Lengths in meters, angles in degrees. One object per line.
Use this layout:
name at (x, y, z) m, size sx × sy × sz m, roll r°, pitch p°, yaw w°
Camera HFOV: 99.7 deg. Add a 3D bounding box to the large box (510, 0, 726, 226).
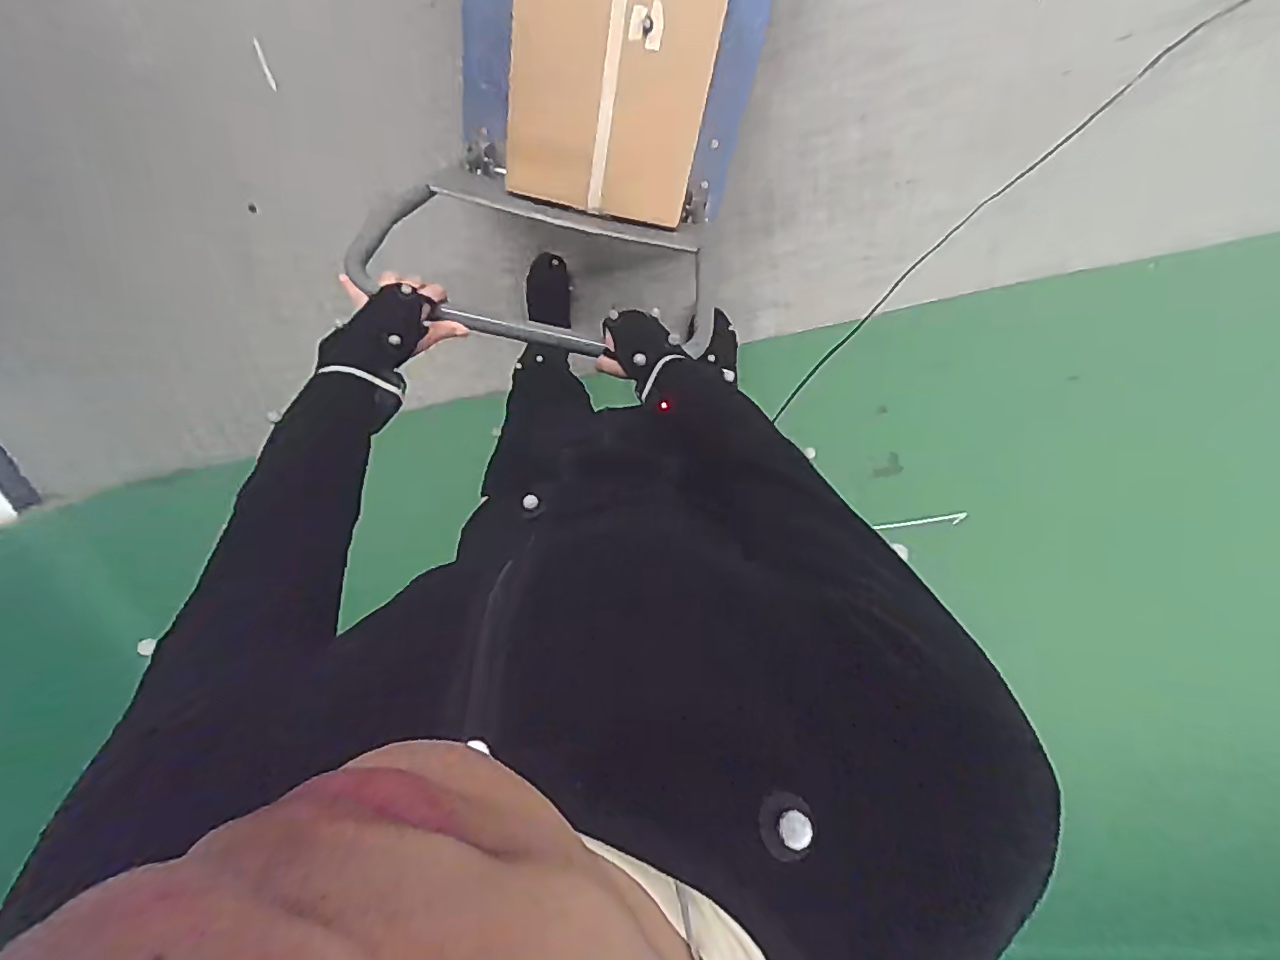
large box at (-0.036, -0.734, 0.987) m, size 0.320 × 0.320 × 0.408 m, roll 11°, pitch 126°, yaw -5°
